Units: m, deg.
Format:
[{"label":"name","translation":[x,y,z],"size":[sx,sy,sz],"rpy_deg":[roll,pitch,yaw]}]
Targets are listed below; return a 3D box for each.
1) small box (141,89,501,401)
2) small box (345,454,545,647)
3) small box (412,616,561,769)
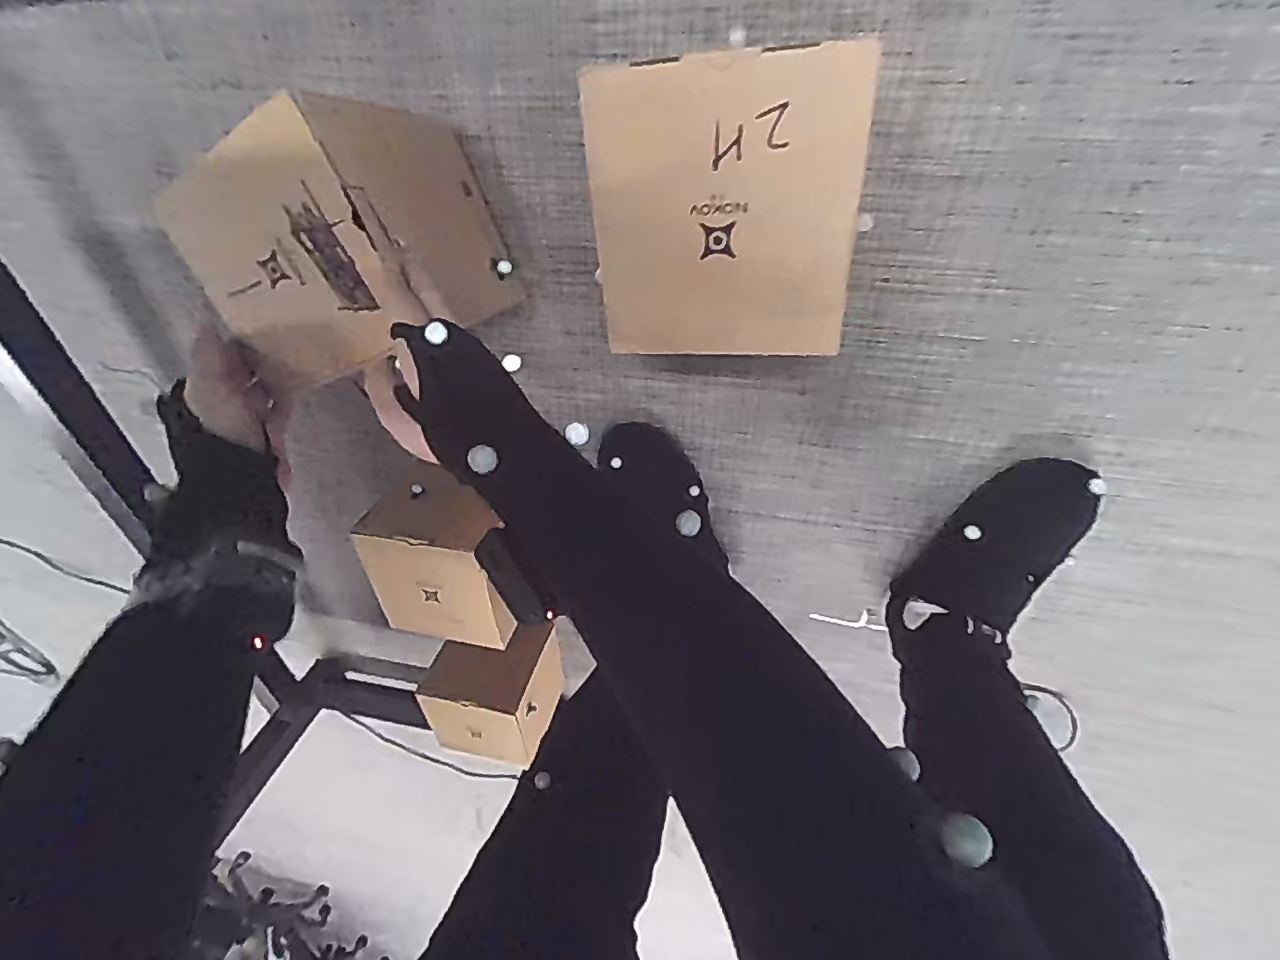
[{"label":"small box","translation":[-0.245,-0.191,0.463],"size":[0.179,0.176,0.168],"rpy_deg":[-15,110,25]},{"label":"small box","translation":[-0.237,0.084,0.708],"size":[0.168,0.176,0.179],"rpy_deg":[7,128,11]},{"label":"small box","translation":[-0.241,0.344,0.904],"size":[0.168,0.176,0.179],"rpy_deg":[6,127,11]}]
